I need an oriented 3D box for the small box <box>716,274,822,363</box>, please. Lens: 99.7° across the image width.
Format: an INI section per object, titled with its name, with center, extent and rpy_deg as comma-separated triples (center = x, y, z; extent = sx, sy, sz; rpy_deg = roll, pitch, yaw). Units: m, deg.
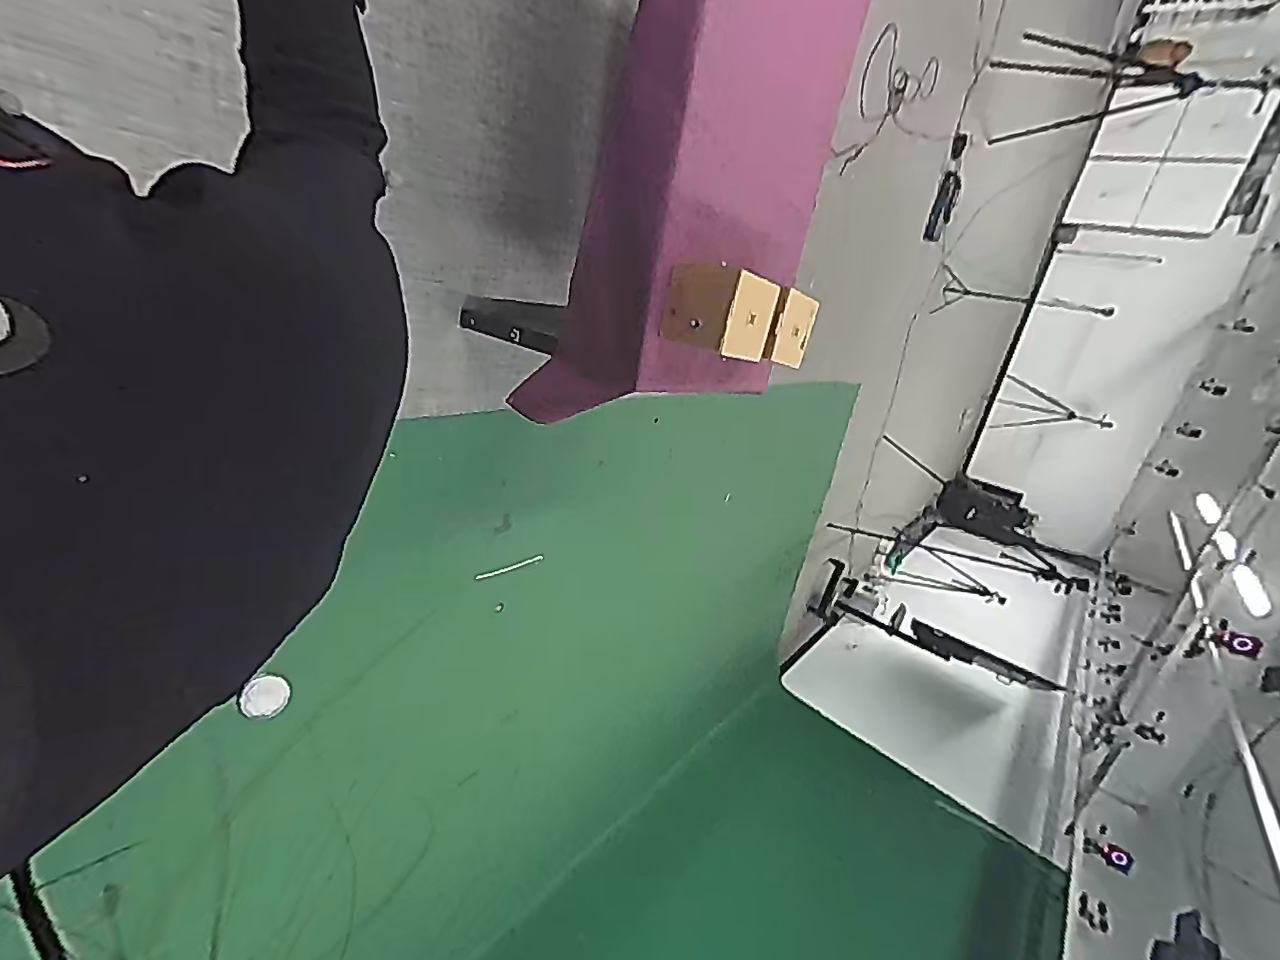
[small box]
center = 0.311, -0.396, 1.323
extent = 0.179, 0.176, 0.168
rpy_deg = -3, 114, -50
